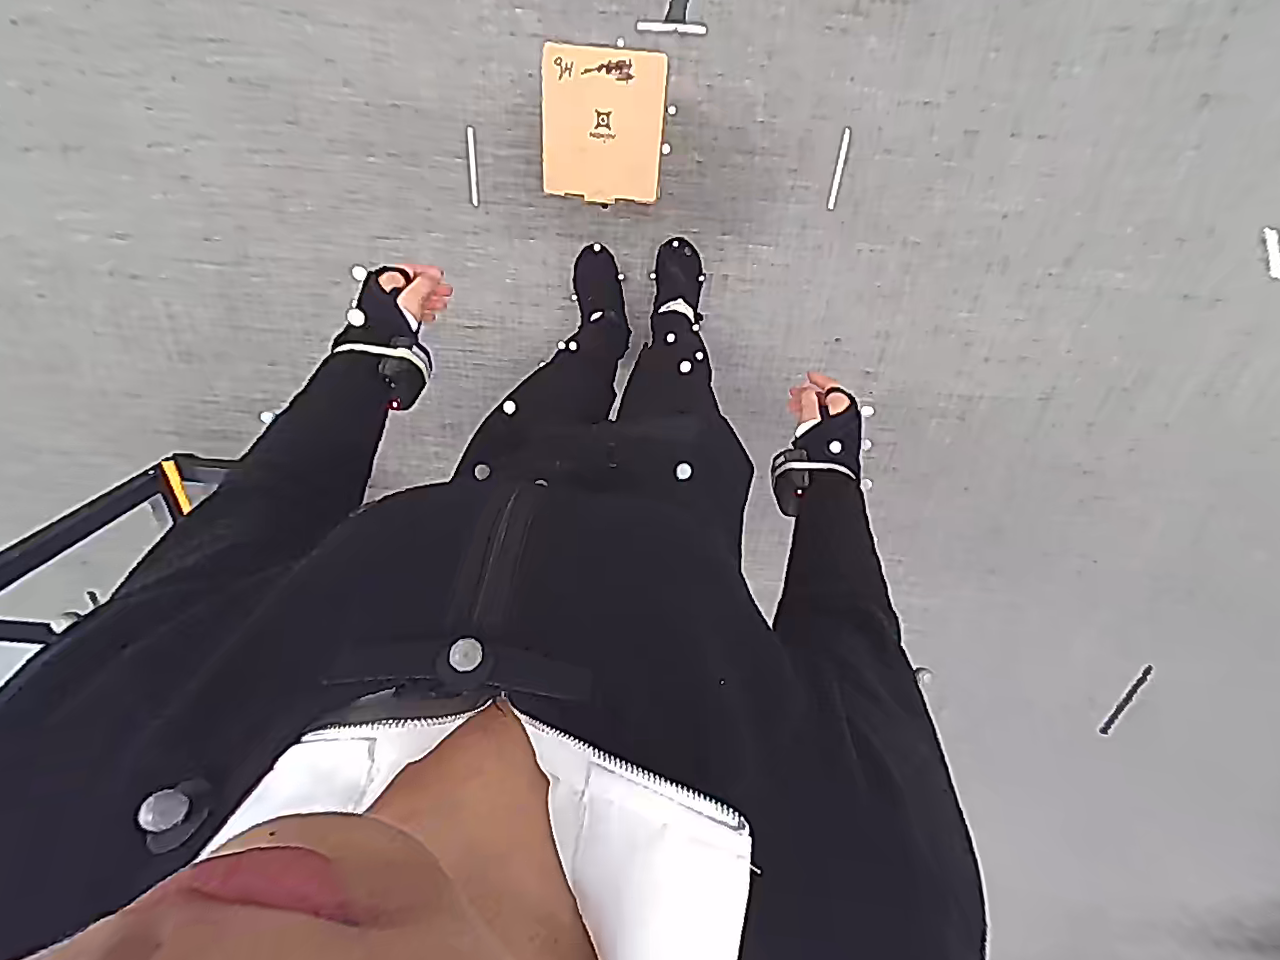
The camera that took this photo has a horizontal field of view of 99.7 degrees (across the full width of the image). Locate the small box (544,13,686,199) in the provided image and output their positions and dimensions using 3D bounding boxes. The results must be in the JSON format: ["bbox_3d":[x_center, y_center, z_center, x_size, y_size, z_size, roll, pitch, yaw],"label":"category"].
[{"bbox_3d":[-0.031,-0.487,0.723,0.168,0.176,0.179,5,121,0],"label":"small box"}]
